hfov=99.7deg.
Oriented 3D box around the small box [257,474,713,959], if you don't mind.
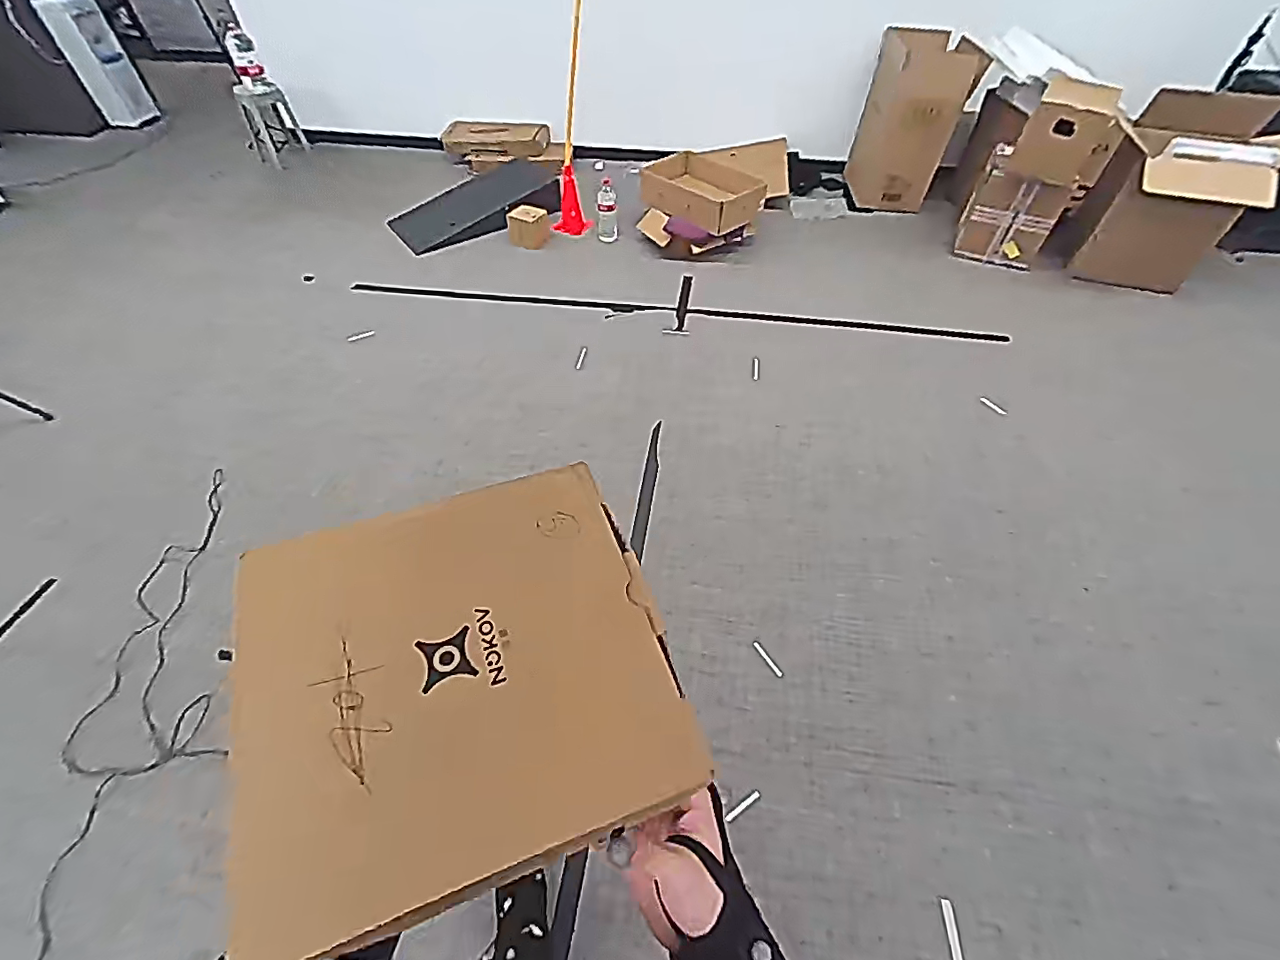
[{"bbox_3d":[-0.082,0.128,0.311,0.179,0.176,0.168,-18,57,-15],"label":"small box"}]
